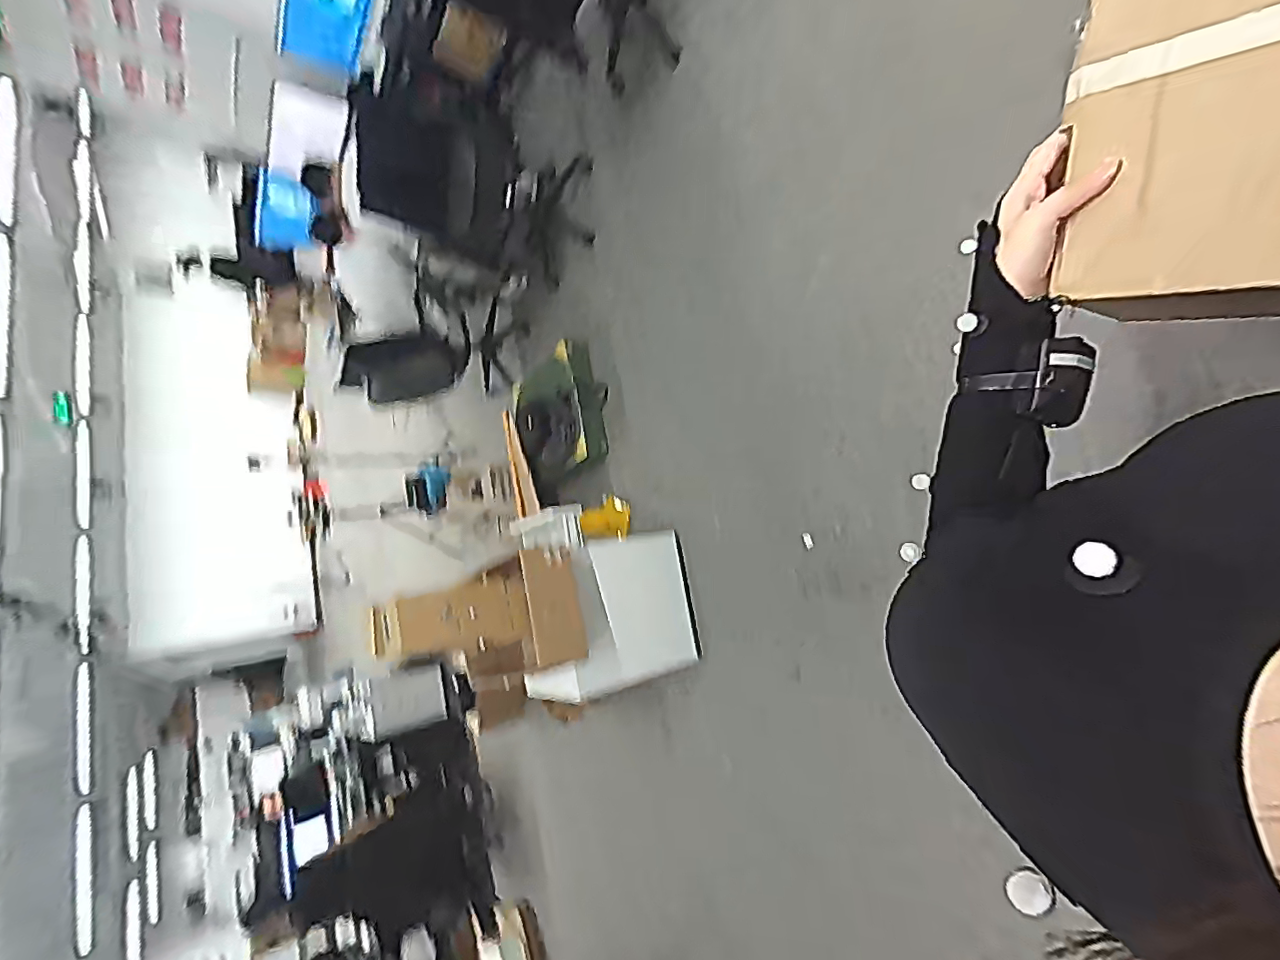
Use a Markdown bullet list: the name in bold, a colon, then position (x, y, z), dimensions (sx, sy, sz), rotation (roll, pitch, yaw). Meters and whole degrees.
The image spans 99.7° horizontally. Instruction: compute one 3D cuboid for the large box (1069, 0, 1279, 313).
- **large box**: position (0.582, -0.293, 0.355), dimensions (0.408, 0.320, 0.320), rotation (14, 109, 46)
